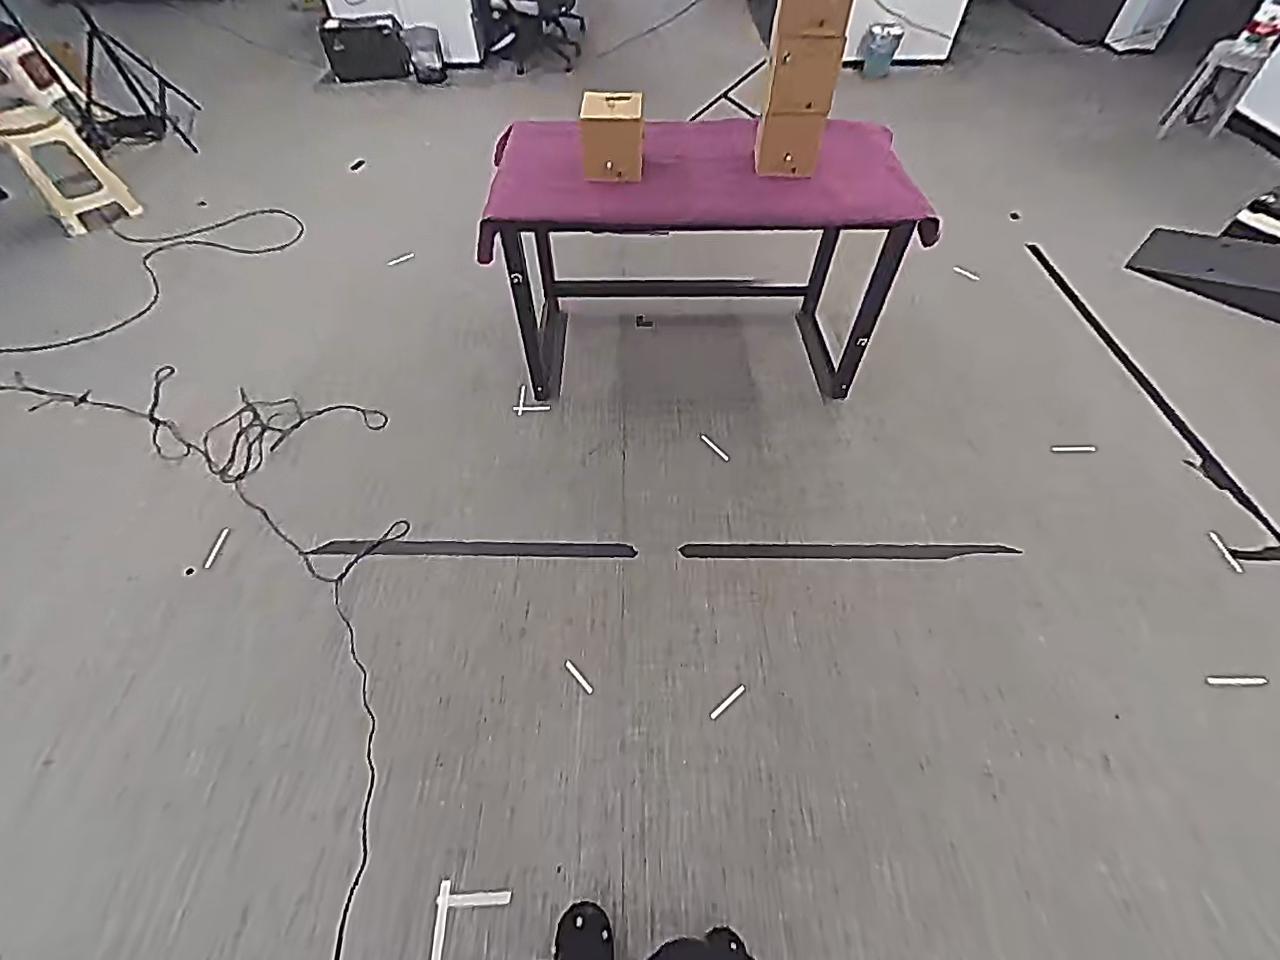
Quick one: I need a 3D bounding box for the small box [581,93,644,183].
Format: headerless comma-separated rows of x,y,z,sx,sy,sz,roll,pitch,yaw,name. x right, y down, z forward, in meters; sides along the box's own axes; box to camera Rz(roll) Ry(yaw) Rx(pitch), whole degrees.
-0.075,-0.979,1.550,0.168,0.176,0.179,1,54,1,small box

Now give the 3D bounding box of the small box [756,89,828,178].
0.432,-1.003,1.564,0.168,0.176,0.179,4,53,4,small box

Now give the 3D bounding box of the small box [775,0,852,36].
0.425,-1.194,1.298,0.168,0.176,0.179,6,52,4,small box
